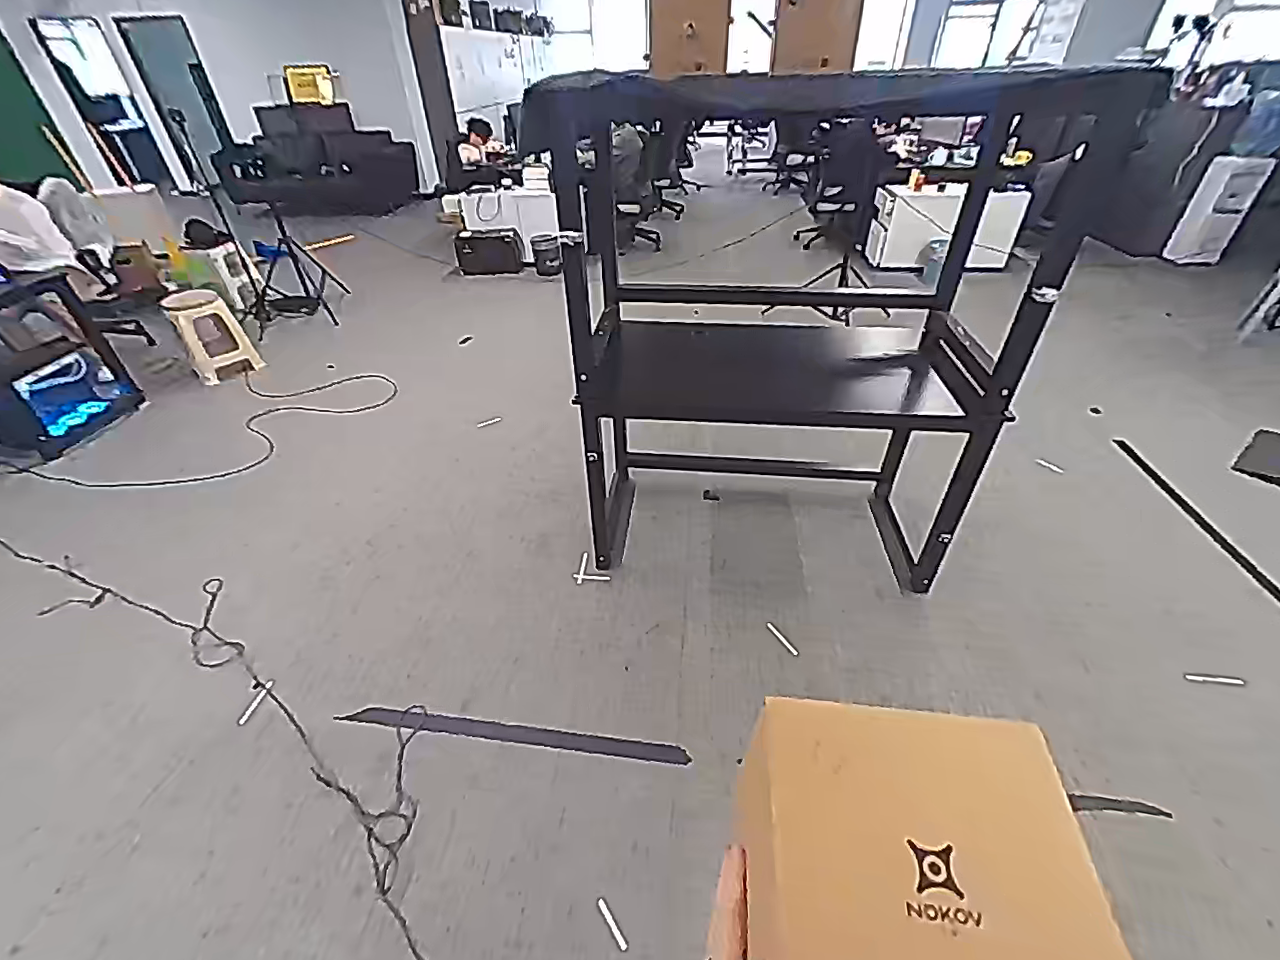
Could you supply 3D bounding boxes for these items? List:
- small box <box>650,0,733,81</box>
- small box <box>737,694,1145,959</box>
[{"bbox_3d":[0.107,-0.957,1.148,0.168,0.176,0.179,1,37,2],"label":"small box"},{"bbox_3d":[0.151,0.256,0.323,0.168,0.176,0.179,4,44,5],"label":"small box"}]
